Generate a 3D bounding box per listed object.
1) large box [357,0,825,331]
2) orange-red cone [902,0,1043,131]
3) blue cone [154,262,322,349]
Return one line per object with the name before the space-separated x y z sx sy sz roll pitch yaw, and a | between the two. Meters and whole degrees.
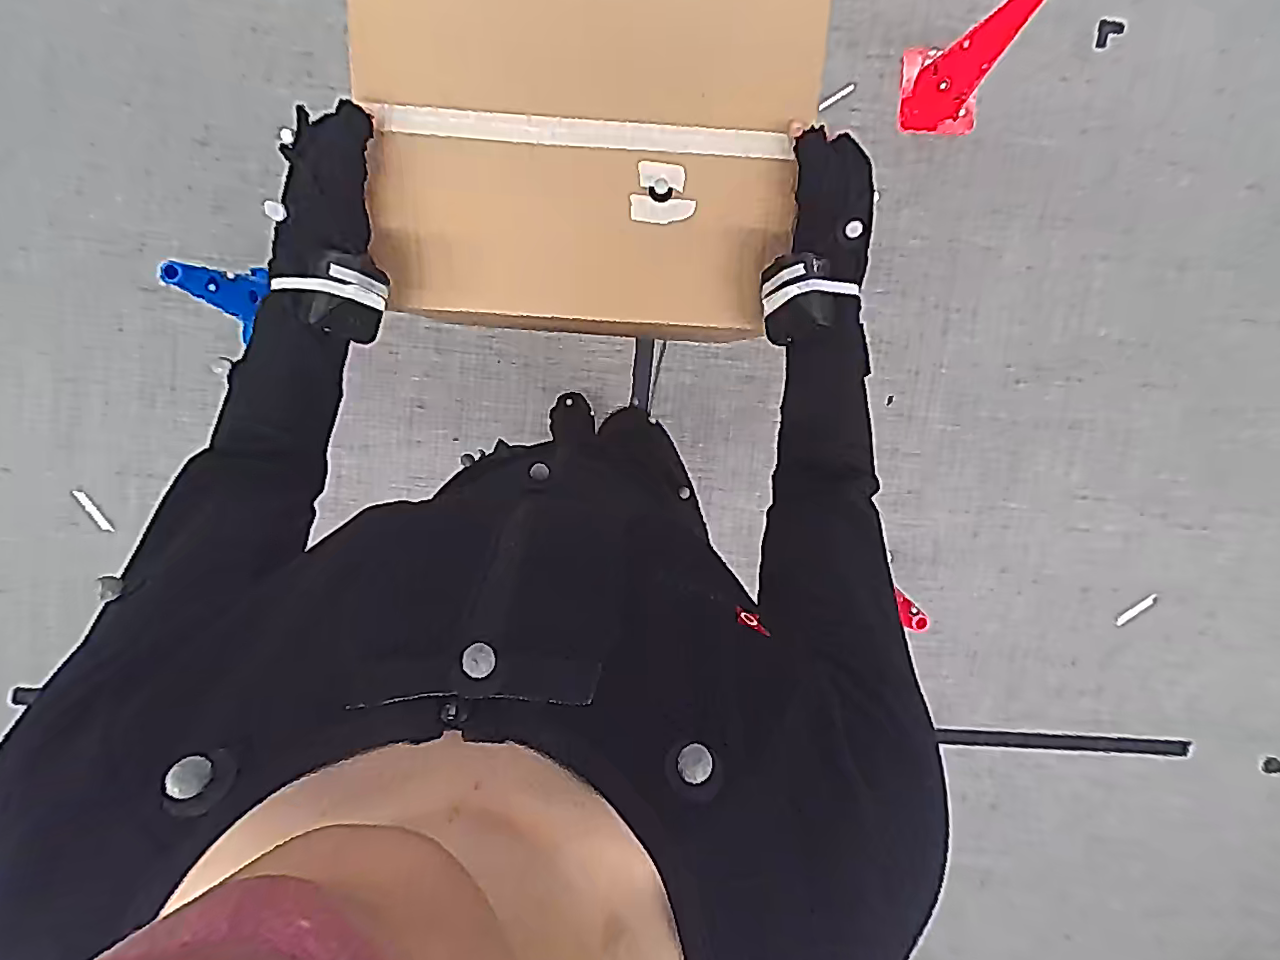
large box | -0.051 -0.347 0.624 0.408 0.320 0.320 3 103 -3
orange-red cone | 0.784 -0.995 1.219 0.198 0.360 0.199 2 94 -4
blue cone | -0.910 -0.420 1.223 0.192 0.380 0.193 8 95 -2
